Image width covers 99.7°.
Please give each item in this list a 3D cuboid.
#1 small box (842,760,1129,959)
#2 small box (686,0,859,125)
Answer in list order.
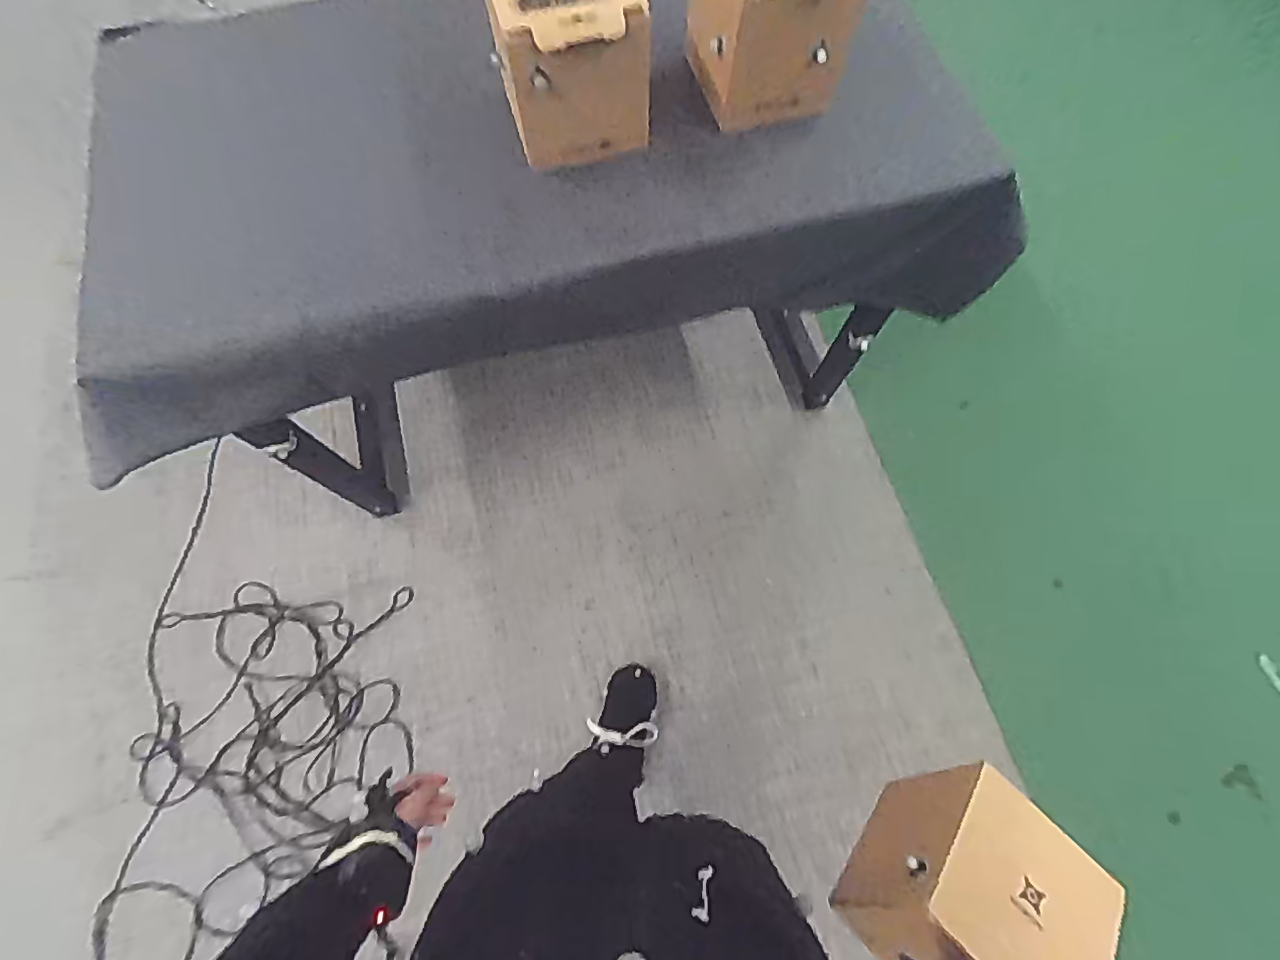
[{"bbox_3d":[0.345,0.431,0.562,0.168,0.176,0.179,43,54,14],"label":"small box"},{"bbox_3d":[0.168,-0.608,0.720,0.168,0.176,0.179,-15,70,-7],"label":"small box"}]
